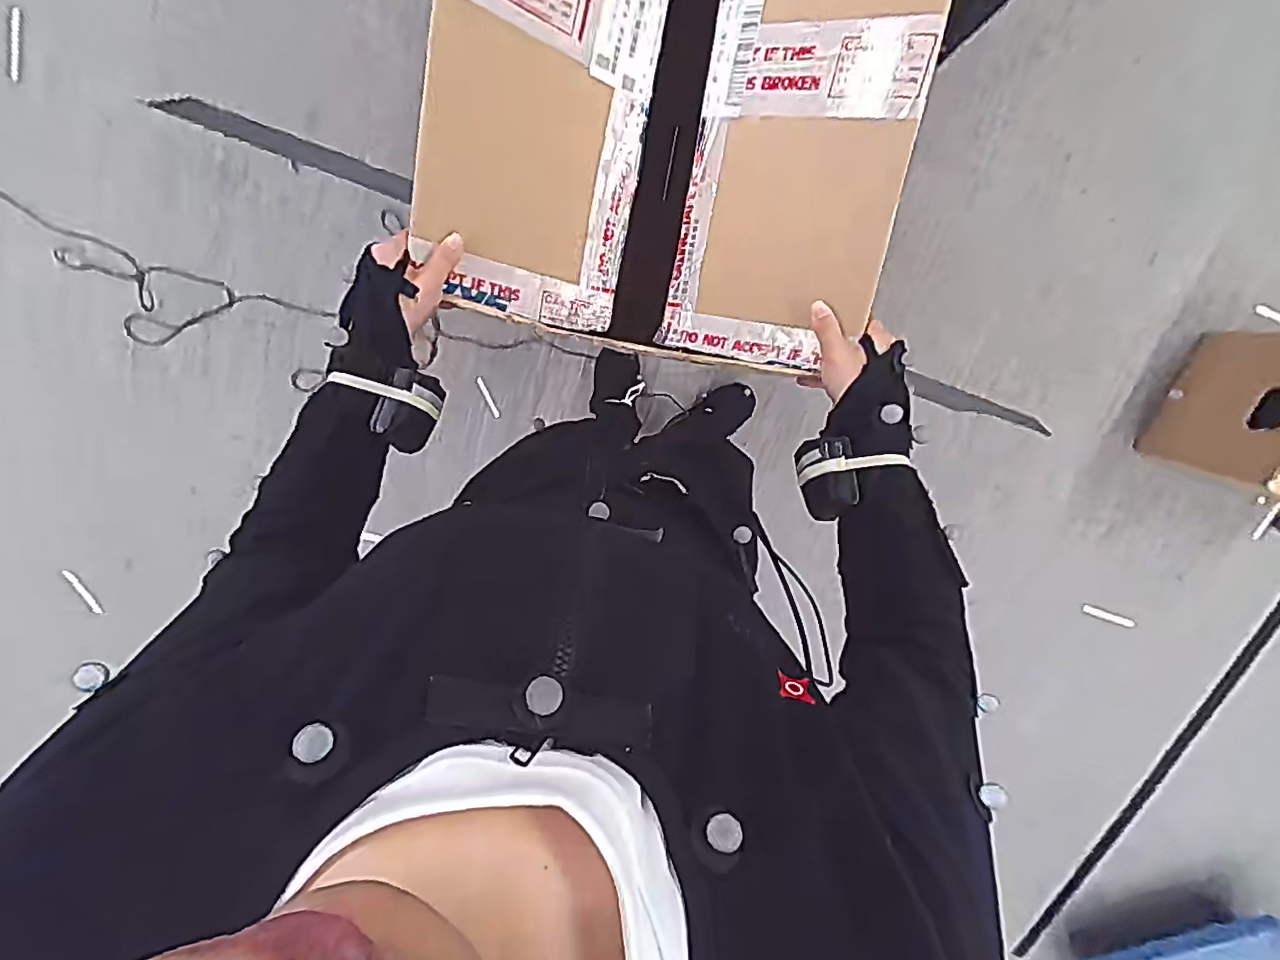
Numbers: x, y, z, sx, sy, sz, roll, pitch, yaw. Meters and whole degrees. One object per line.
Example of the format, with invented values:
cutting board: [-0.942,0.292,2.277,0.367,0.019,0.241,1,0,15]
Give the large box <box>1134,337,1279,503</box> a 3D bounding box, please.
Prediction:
large box: [1.448,-0.099,1.167,0.408,0.320,0.320,18,105,-3]
